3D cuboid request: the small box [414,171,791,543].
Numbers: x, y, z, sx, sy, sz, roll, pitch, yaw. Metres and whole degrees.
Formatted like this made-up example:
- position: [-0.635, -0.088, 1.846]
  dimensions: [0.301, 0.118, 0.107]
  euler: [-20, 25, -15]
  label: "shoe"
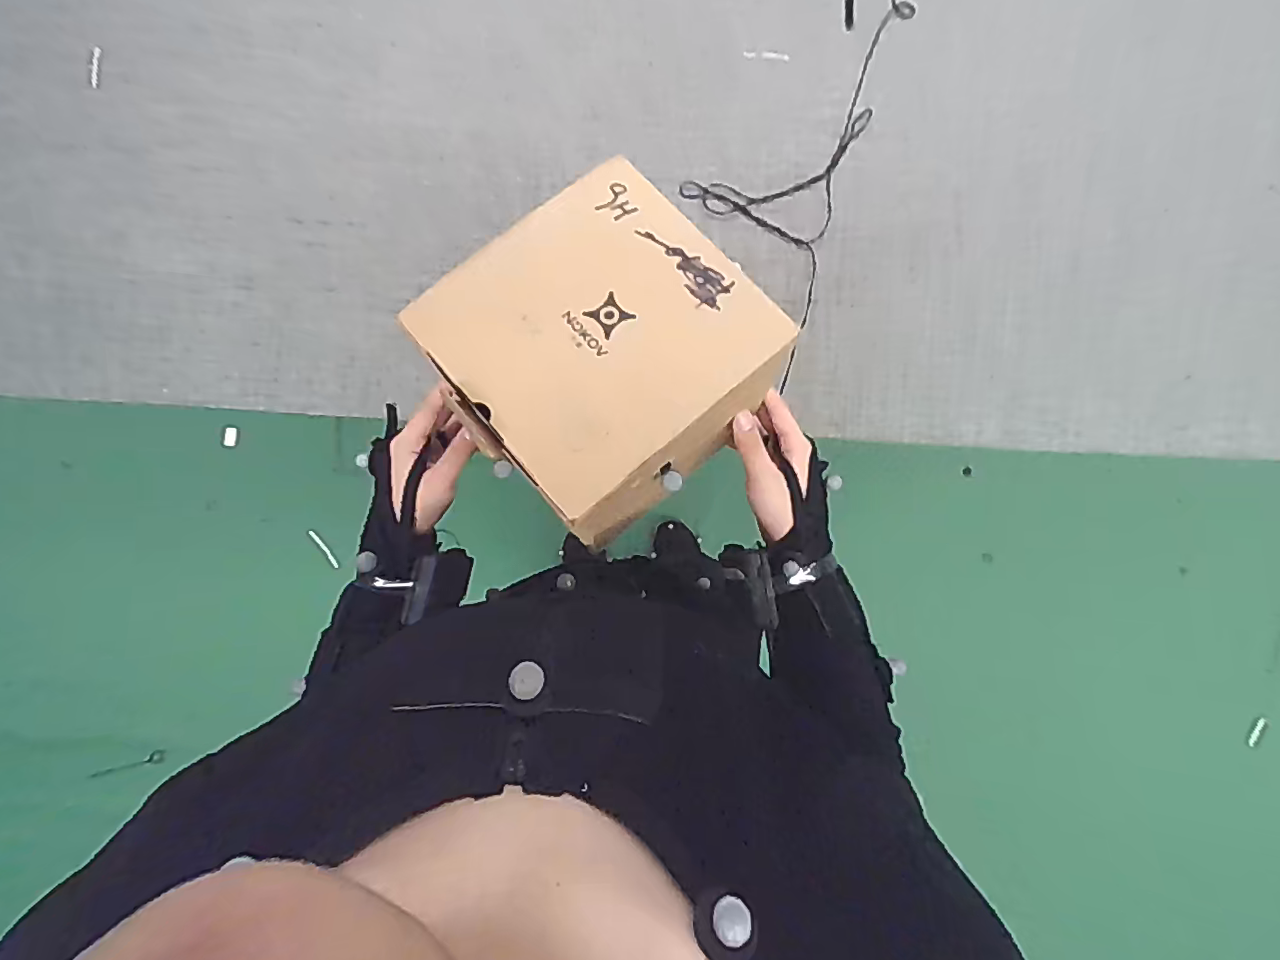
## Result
- position: [-0.021, -0.071, 0.405]
  dimensions: [0.179, 0.176, 0.168]
  euler: [-41, 80, -8]
  label: "small box"
